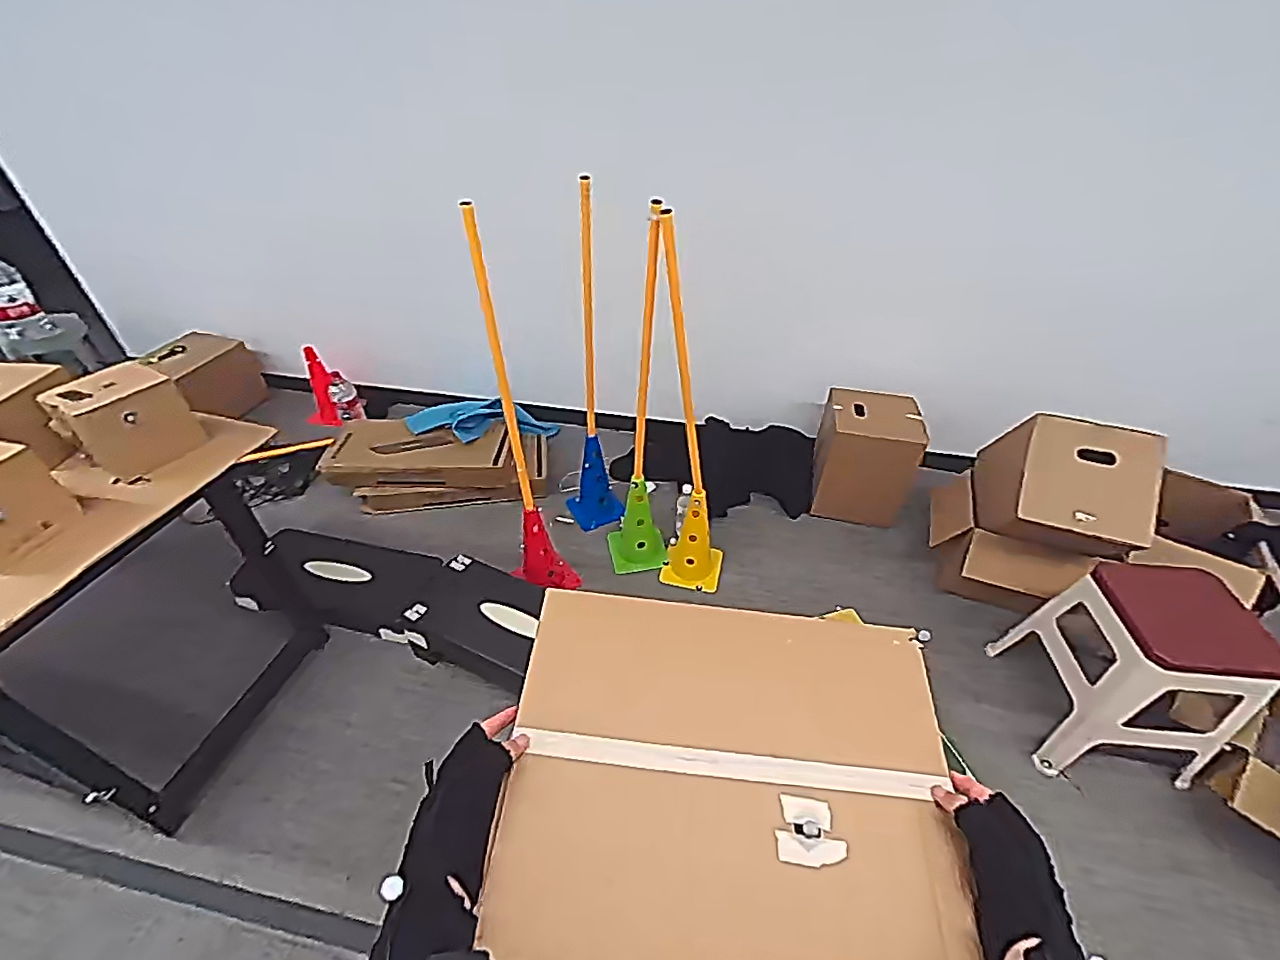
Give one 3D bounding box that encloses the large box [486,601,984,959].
[{"bbox_3d":[0.080,0.366,0.624,0.408,0.320,0.320,6,52,2],"label":"large box"}]
